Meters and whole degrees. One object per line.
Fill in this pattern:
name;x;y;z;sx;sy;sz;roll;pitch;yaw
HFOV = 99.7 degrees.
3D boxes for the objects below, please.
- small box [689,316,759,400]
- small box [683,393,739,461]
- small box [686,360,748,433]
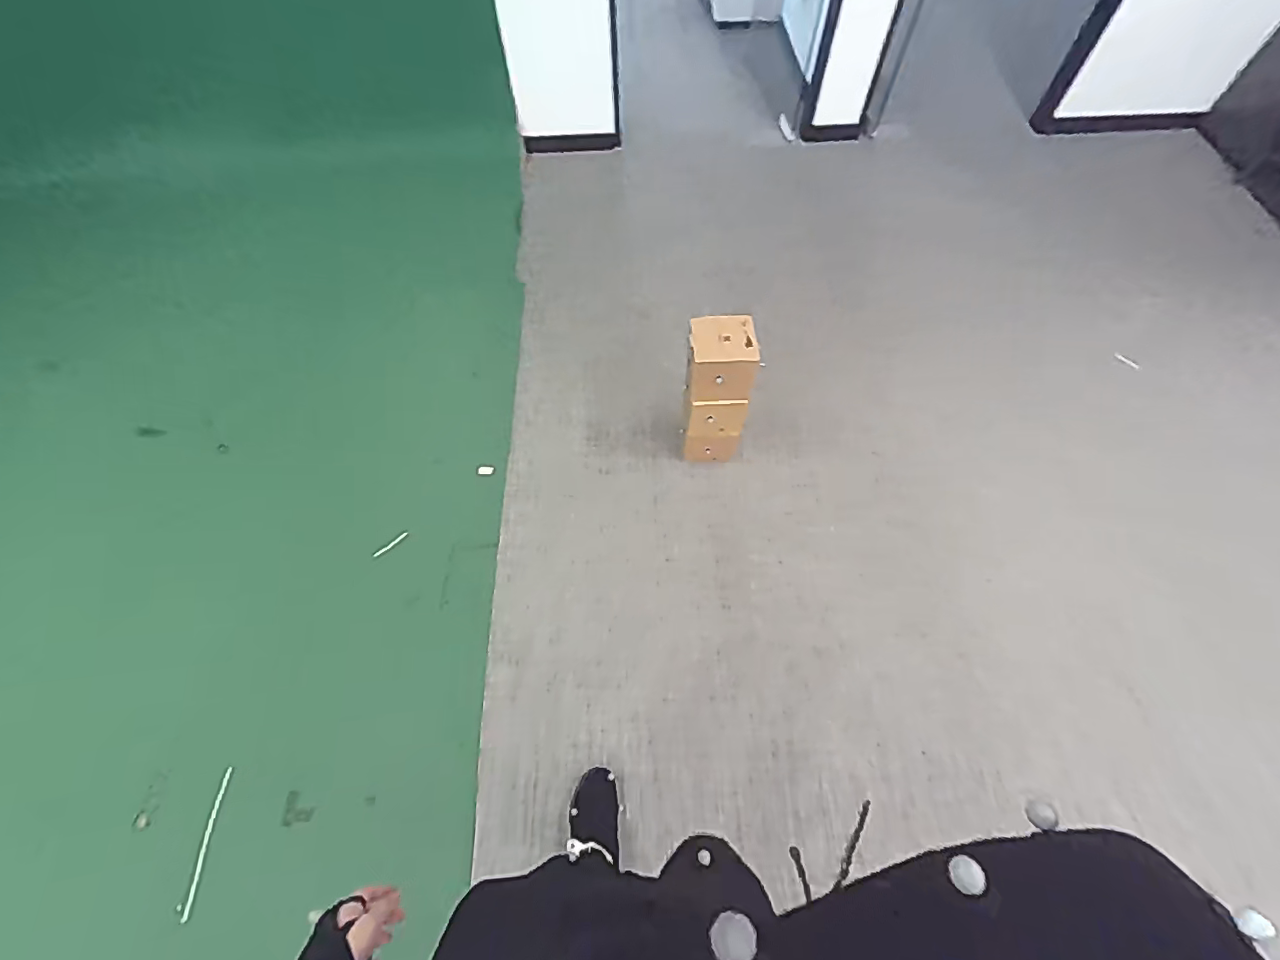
small box;0.229;-0.339;1.522;0.179;0.176;0.168;-3;61;1
small box;0.232;-0.175;1.804;0.168;0.176;0.179;-1;61;0
small box;0.232;-0.254;1.663;0.168;0.176;0.179;-3;60;0
